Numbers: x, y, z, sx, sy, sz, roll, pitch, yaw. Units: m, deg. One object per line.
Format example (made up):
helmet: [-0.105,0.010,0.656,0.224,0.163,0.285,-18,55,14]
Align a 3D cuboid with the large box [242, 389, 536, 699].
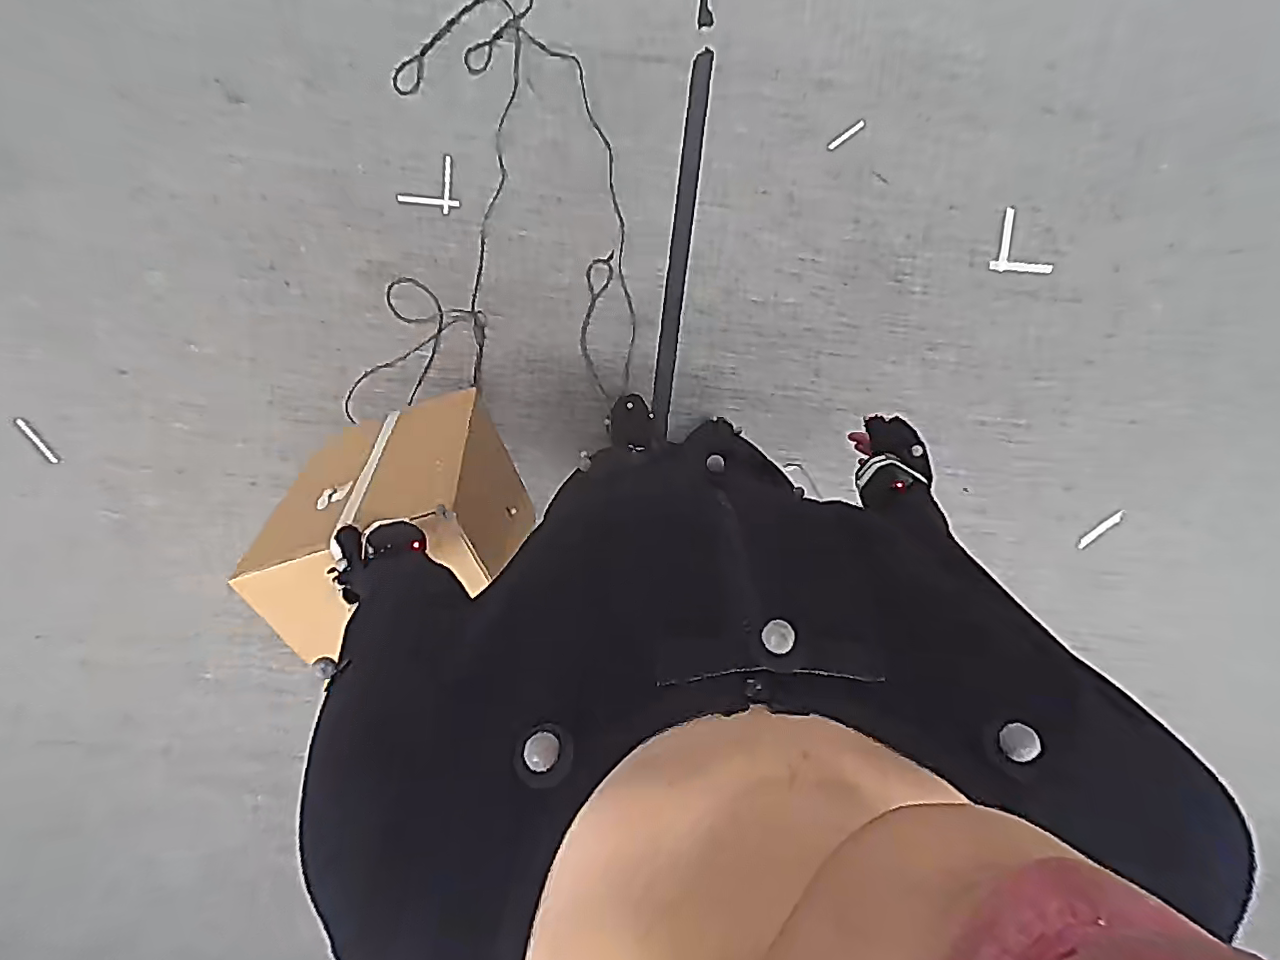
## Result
large box: [-0.388,0.095,0.964,0.320,0.408,0.320,-19,125,1]
